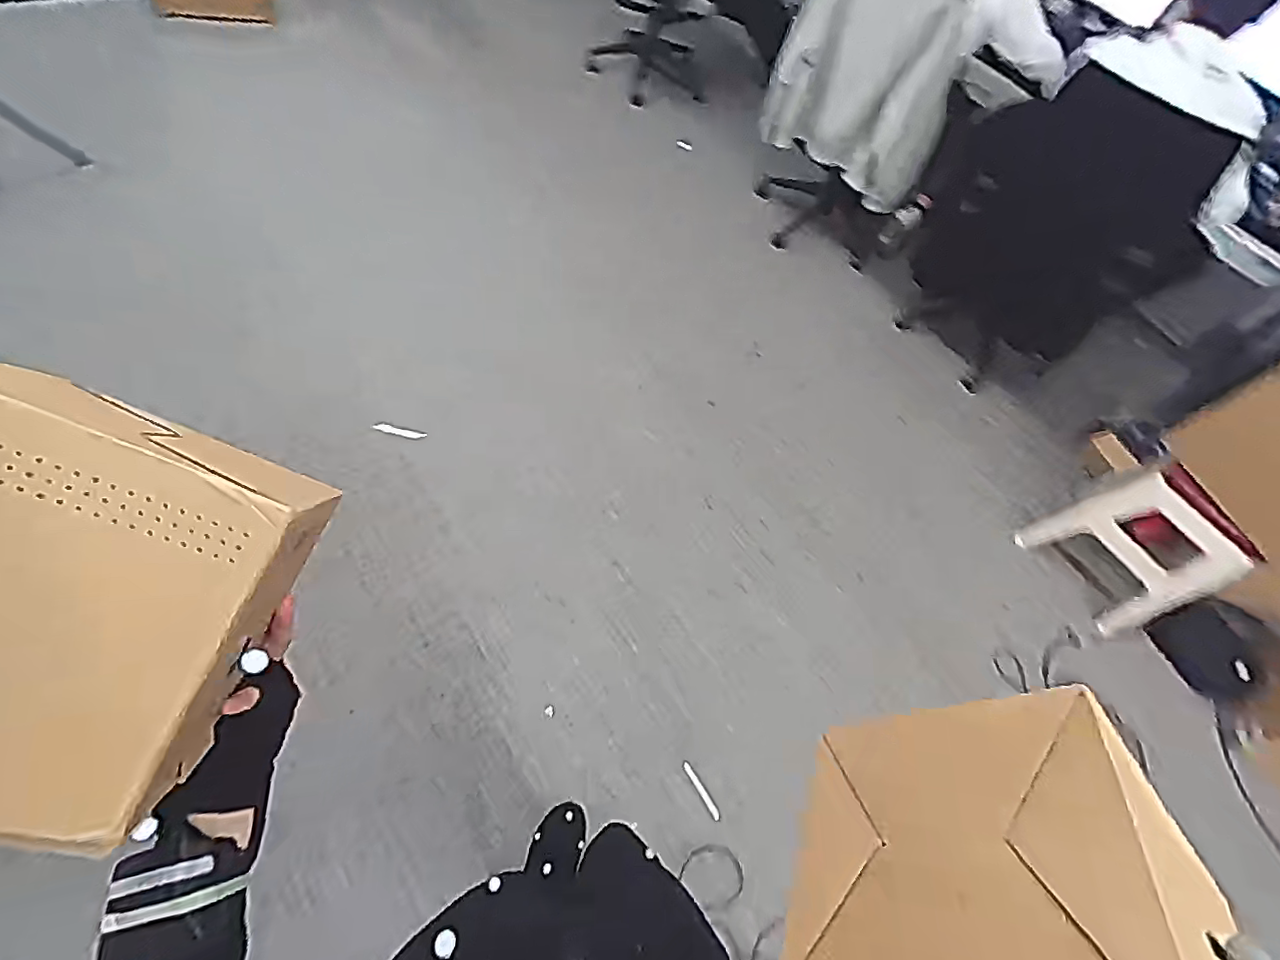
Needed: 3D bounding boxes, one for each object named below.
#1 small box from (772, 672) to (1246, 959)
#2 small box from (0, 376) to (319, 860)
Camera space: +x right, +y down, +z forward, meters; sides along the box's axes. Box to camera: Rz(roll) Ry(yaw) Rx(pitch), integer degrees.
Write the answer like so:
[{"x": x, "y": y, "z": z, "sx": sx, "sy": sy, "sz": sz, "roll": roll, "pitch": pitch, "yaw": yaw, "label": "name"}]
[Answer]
[{"x": 0.192, "y": 0.233, "z": 0.281, "sx": 0.176, "sy": 0.168, "sz": 0.179, "roll": 52, "pitch": 35, "yaw": -7, "label": "small box"}, {"x": -0.298, "y": 0.051, "z": 0.285, "sx": 0.179, "sy": 0.168, "sz": 0.176, "roll": 26, "pitch": 80, "yaw": -21, "label": "small box"}]
